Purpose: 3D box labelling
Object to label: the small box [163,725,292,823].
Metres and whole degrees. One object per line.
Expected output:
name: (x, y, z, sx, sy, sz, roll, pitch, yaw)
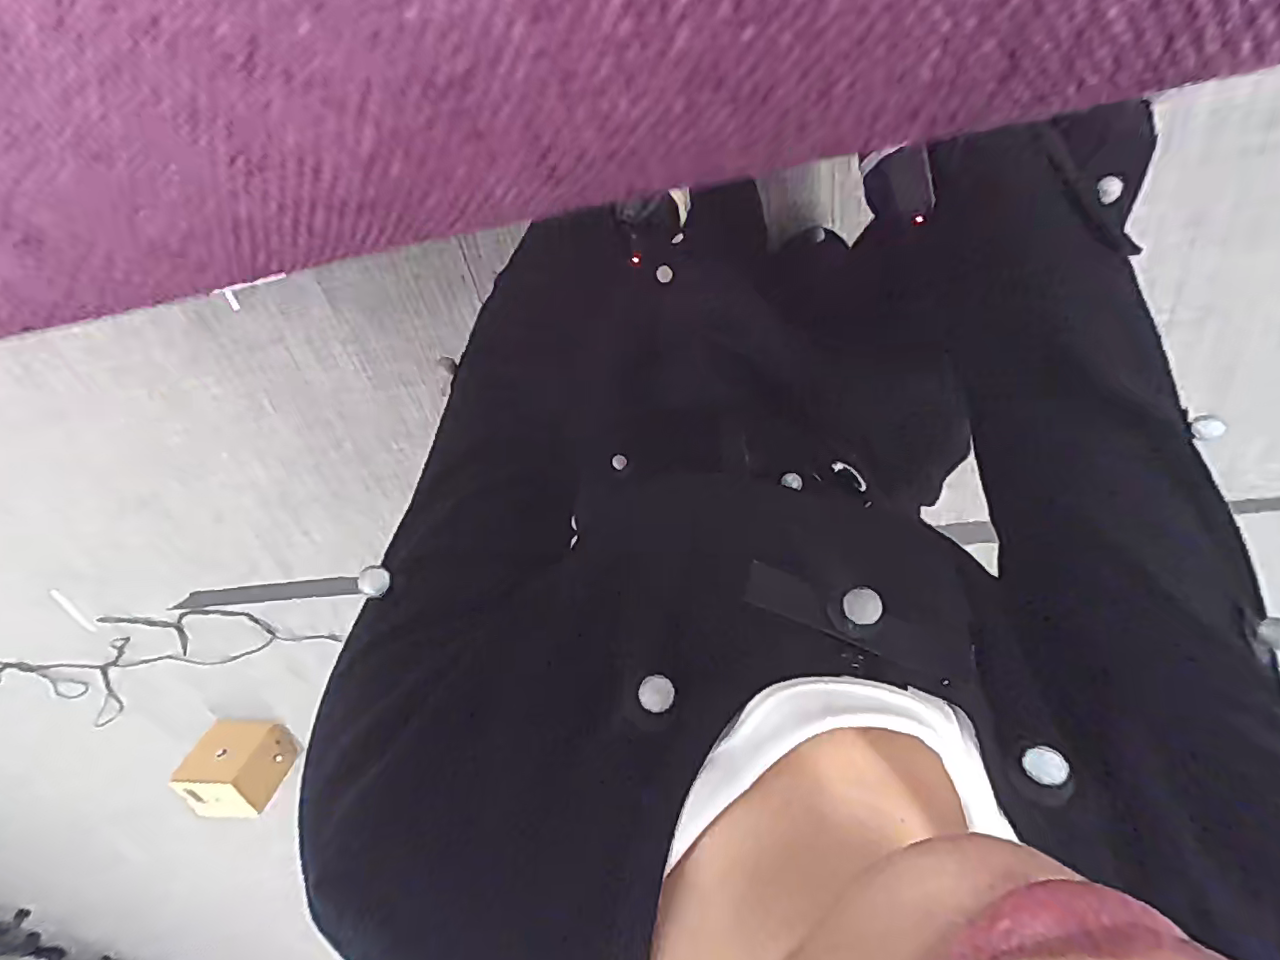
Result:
small box: (-1.073, 0.768, 1.423, 0.179, 0.176, 0.168, -2, 122, 6)
